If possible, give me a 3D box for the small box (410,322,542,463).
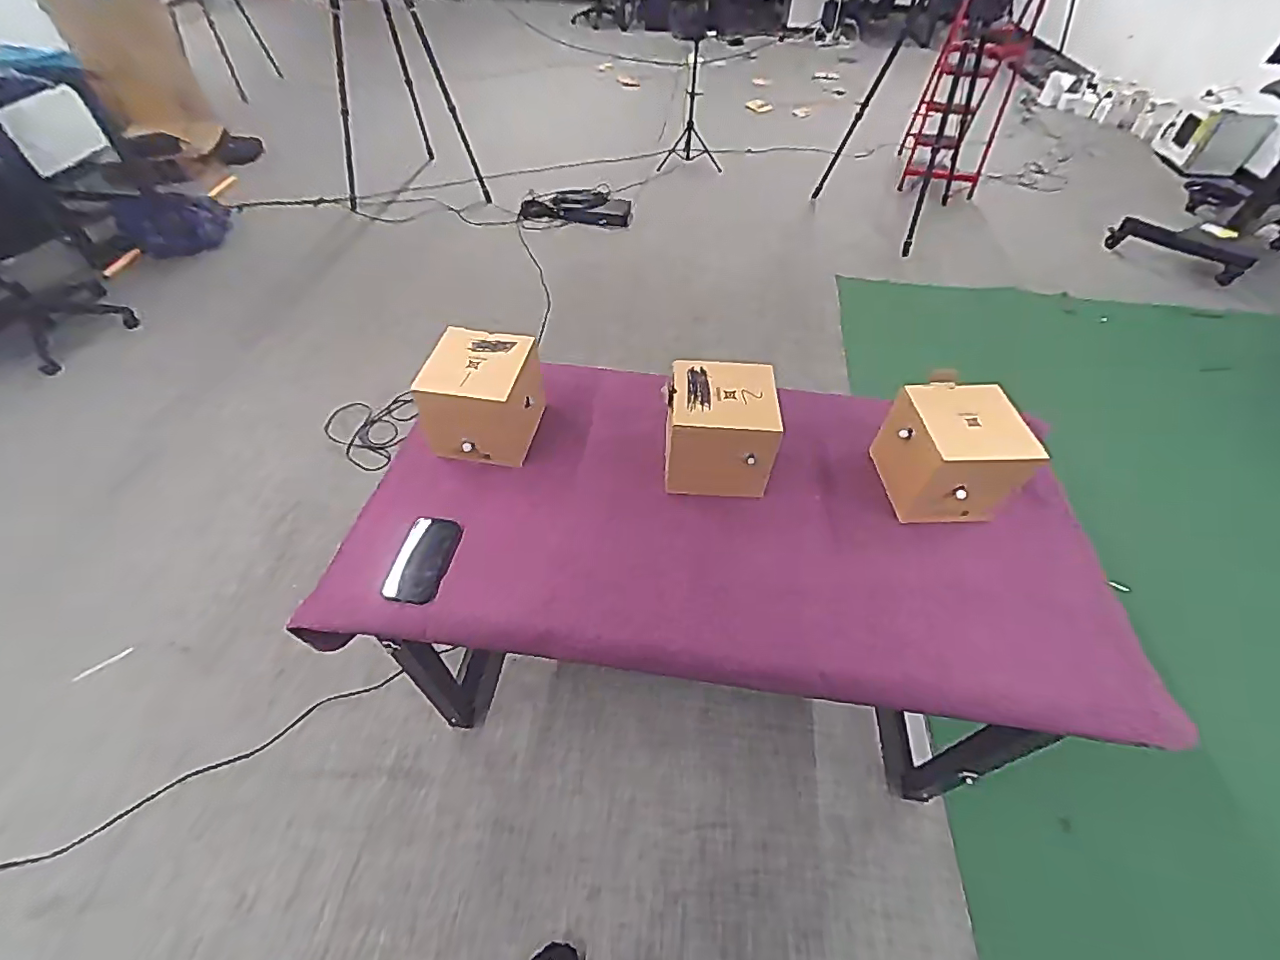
[{"bbox_3d":[-0.282,-0.157,0.980,0.168,0.176,0.179,8,52,5],"label":"small box"}]

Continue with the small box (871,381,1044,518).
[{"bbox_3d":[0.522,-0.047,0.920,0.168,0.176,0.179,-1,50,-2],"label":"small box"}]
